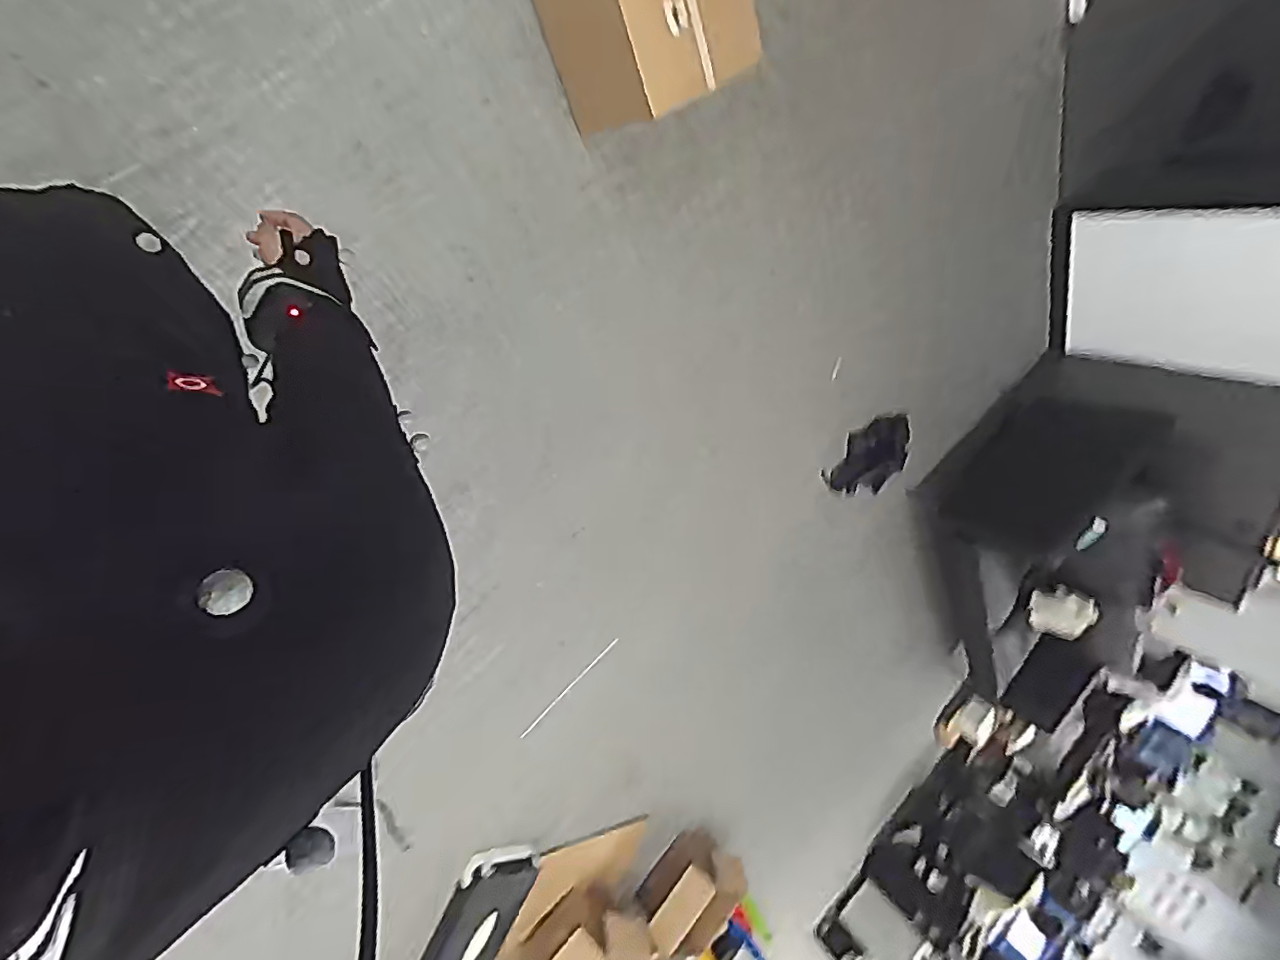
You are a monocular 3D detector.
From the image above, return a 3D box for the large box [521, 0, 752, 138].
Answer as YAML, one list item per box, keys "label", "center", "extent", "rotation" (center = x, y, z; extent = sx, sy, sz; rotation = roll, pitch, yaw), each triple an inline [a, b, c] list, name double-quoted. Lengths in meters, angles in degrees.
- label: "large box"
  center: [-0.029, -0.994, 1.103]
  extent: [0.320, 0.320, 0.408]
  rotation: [-38, 129, -15]
